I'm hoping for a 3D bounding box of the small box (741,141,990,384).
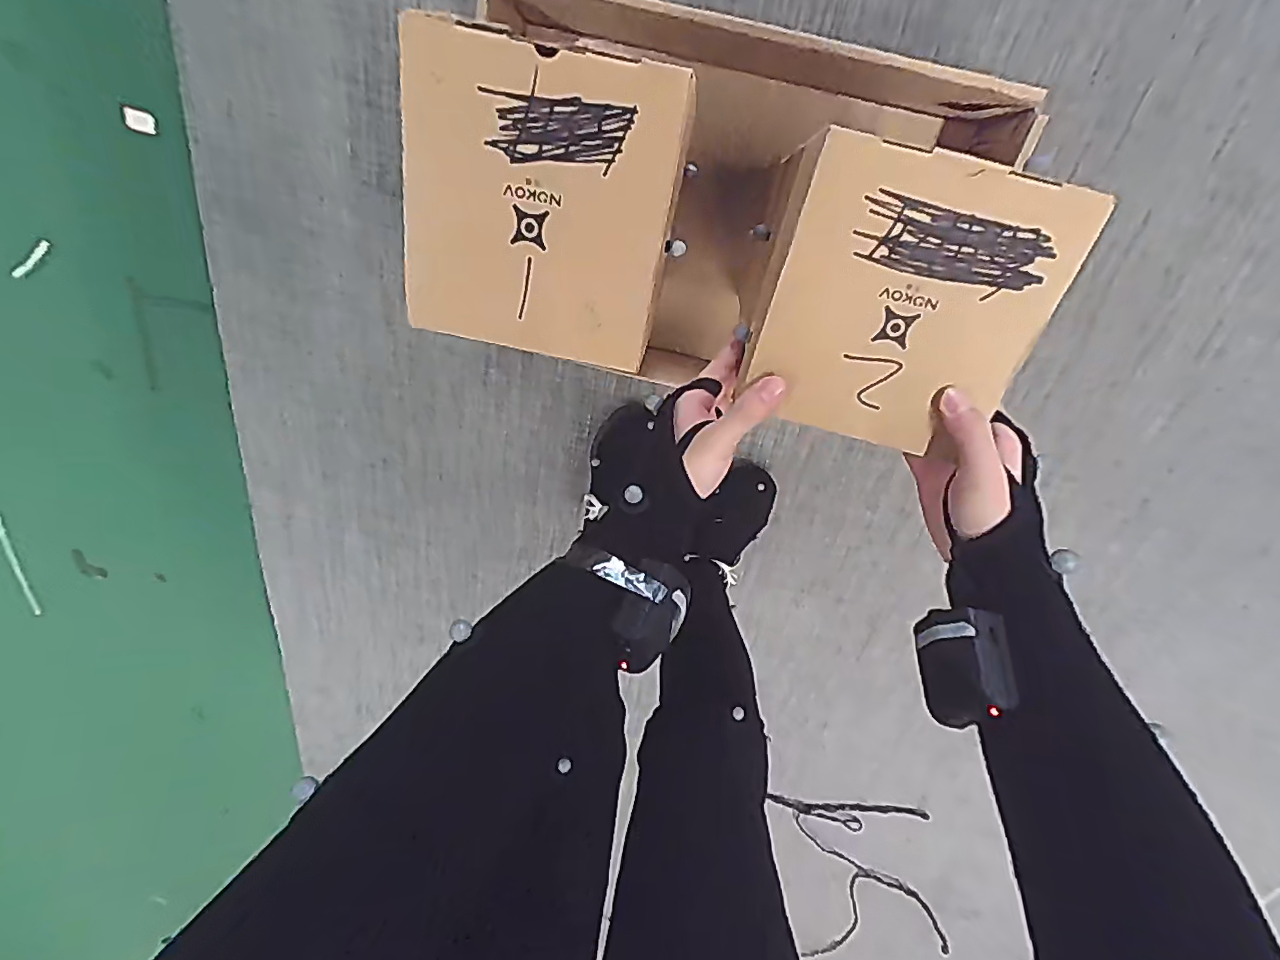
[{"bbox_3d":[0.203,-0.220,0.554,0.168,0.176,0.179,14,117,3],"label":"small box"}]

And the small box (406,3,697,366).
[{"bbox_3d":[-0.058,-0.207,0.407,0.168,0.176,0.179,12,118,0],"label":"small box"}]
